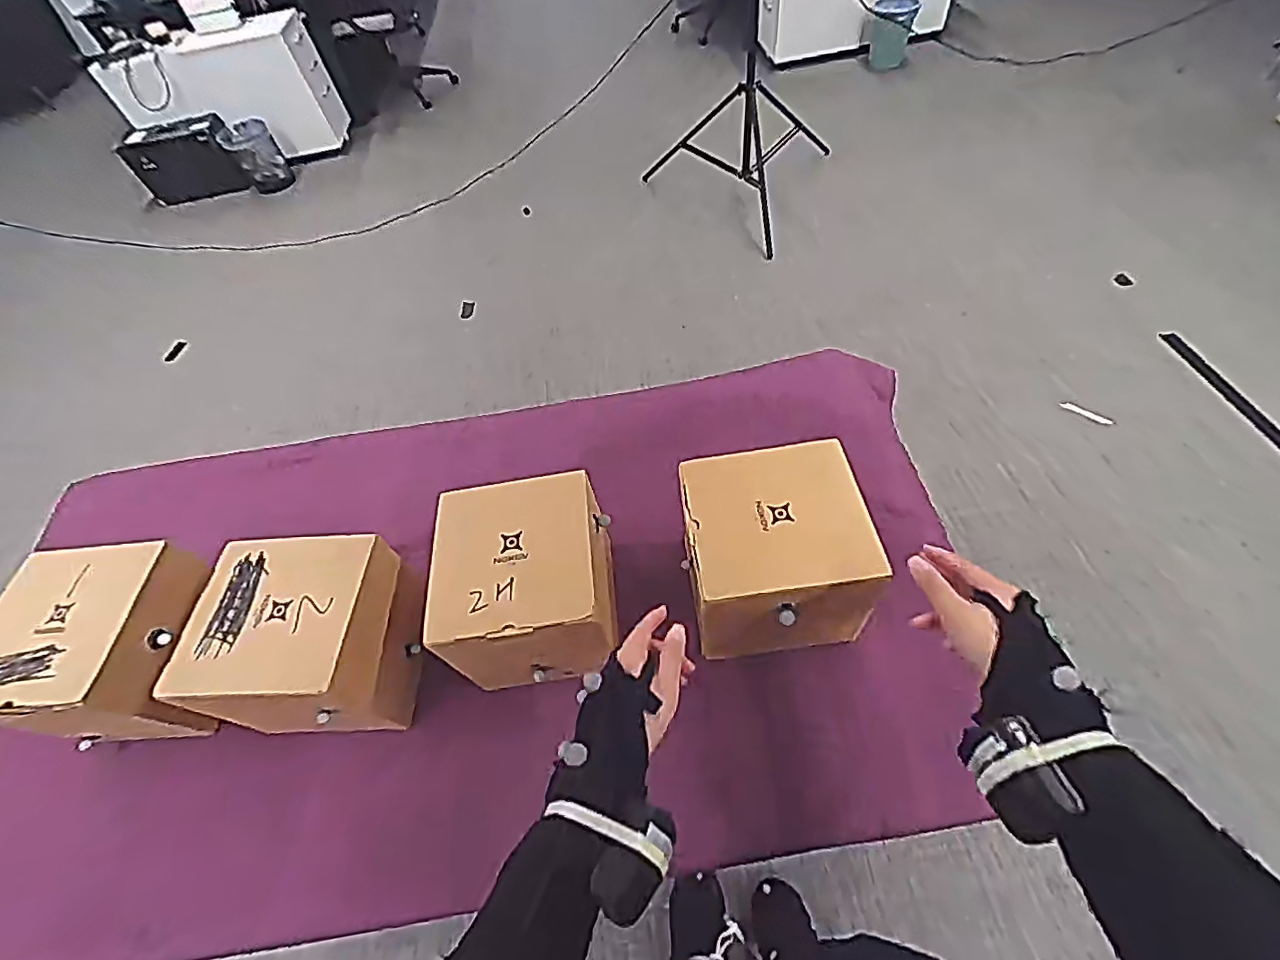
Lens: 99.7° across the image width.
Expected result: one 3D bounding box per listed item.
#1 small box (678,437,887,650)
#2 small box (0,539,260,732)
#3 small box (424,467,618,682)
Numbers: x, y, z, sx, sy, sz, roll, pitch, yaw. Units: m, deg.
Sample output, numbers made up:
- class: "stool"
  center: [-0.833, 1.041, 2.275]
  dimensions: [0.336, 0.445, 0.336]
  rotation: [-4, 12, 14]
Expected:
- class: "small box"
  center: [0.143, 0.077, 0.605]
  dimensions: [0.179, 0.176, 0.168]
  rotation: [-9, 54, 3]
- class: "small box"
  center: [-0.594, 0.189, 0.631]
  dimensions: [0.168, 0.176, 0.179]
  rotation: [-5, 55, 4]
- class: "small box"
  center: [-0.122, 0.112, 0.618]
  dimensions: [0.168, 0.176, 0.179]
  rotation: [-10, 55, 2]
